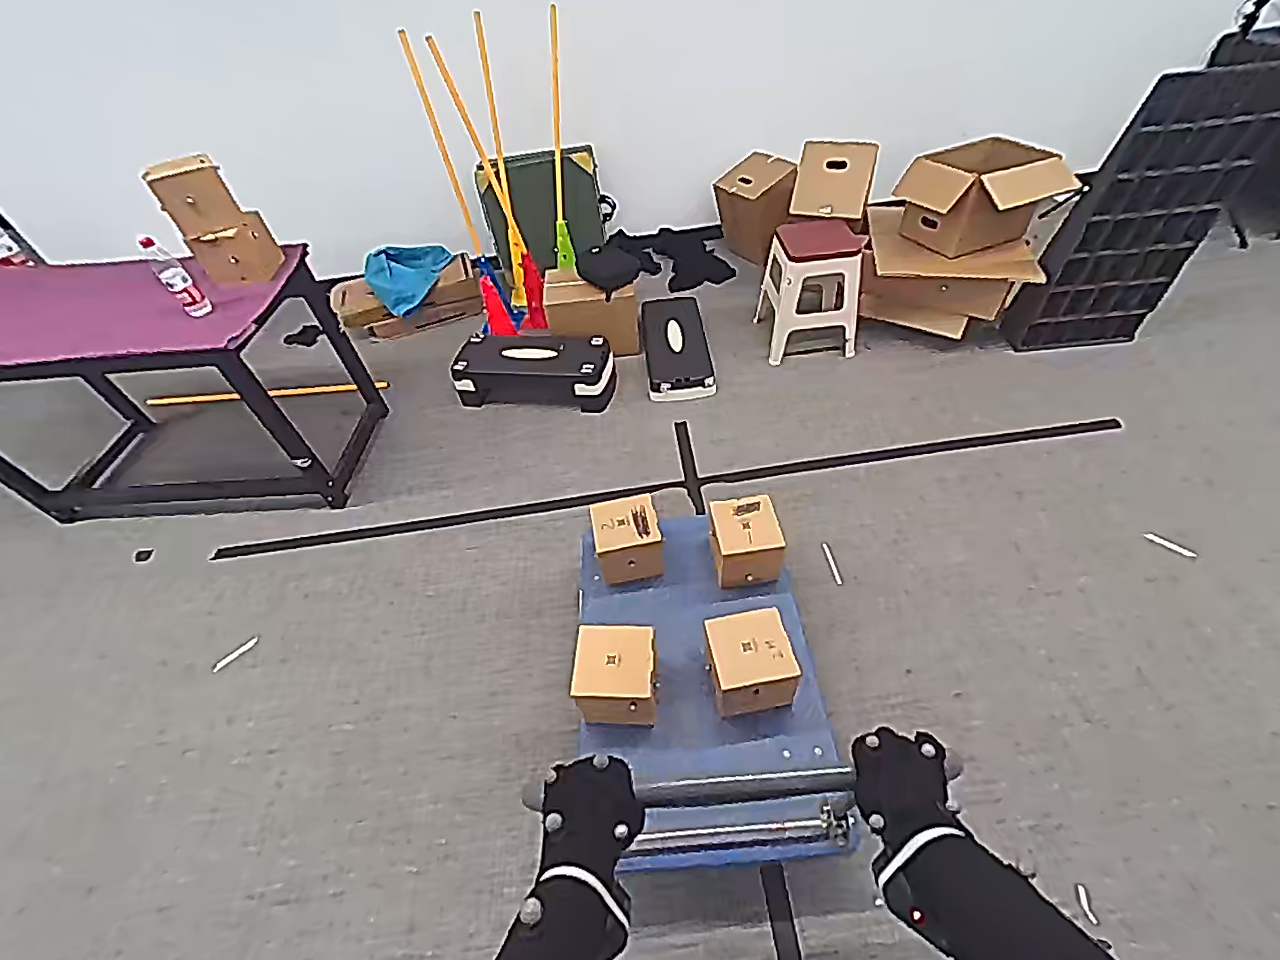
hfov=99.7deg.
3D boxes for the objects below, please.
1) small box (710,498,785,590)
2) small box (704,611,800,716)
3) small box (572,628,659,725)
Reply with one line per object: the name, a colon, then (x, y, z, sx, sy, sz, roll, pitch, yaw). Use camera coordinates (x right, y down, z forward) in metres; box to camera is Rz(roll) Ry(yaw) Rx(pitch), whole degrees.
small box: (0.286, 0.176, 1.480, 0.168, 0.176, 0.179, -8, 49, 0)
small box: (0.253, 0.430, 1.257, 0.179, 0.176, 0.168, -10, 48, -2)
small box: (-0.049, 0.462, 1.264, 0.179, 0.176, 0.168, 0, 48, 5)
